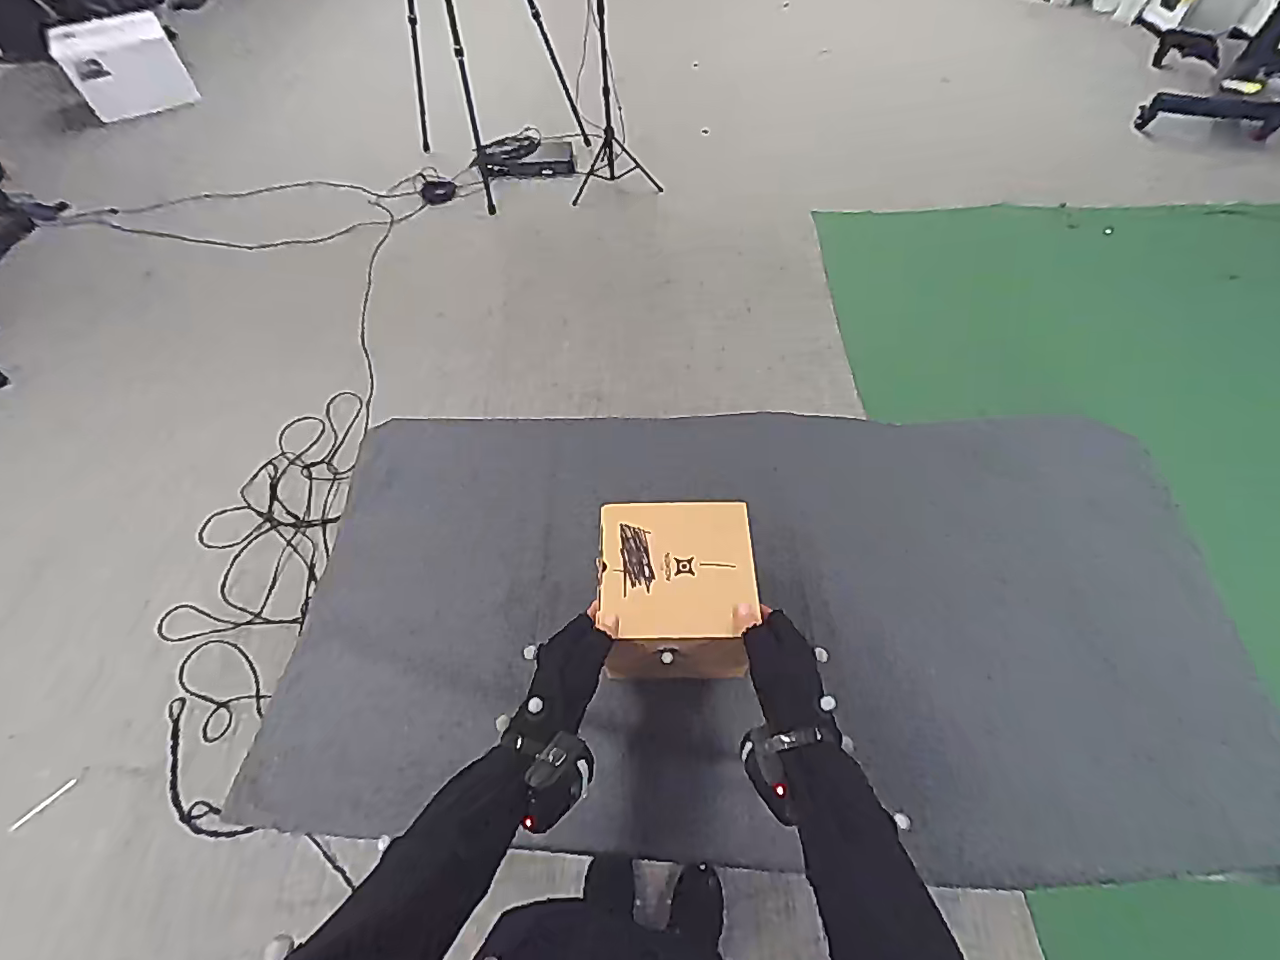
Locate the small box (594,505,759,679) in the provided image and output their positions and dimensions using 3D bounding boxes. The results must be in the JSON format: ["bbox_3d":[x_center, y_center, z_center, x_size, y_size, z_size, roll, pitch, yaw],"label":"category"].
[{"bbox_3d":[0.041,0.144,0.673,0.179,0.176,0.168,0,56,1],"label":"small box"}]
